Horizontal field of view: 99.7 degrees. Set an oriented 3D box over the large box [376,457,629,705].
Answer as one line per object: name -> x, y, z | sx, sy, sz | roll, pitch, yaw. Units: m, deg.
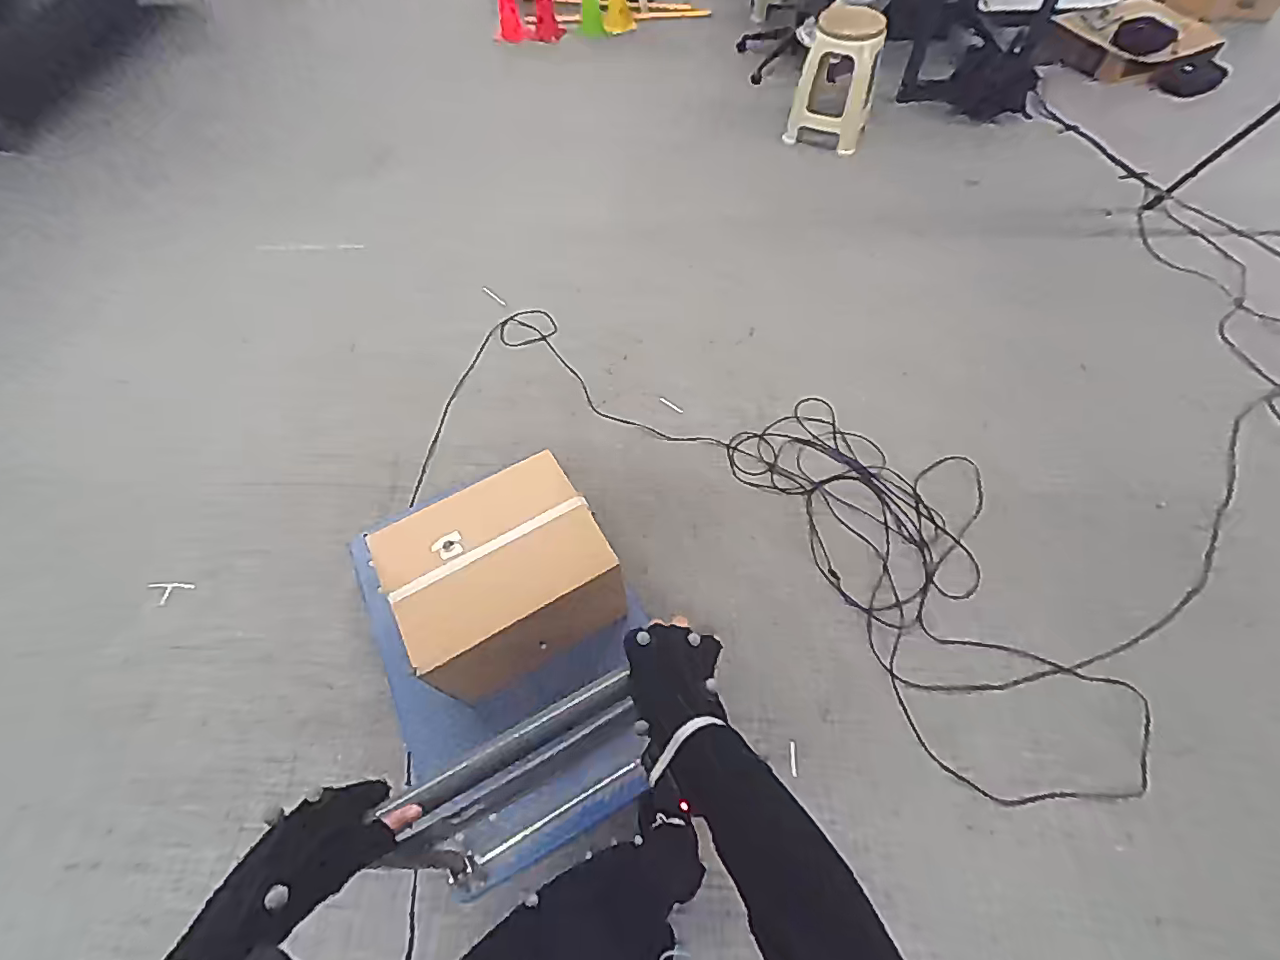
large box -> -0.274, 0.225, 1.183 | 0.408, 0.320, 0.320 | -29, 61, -14
